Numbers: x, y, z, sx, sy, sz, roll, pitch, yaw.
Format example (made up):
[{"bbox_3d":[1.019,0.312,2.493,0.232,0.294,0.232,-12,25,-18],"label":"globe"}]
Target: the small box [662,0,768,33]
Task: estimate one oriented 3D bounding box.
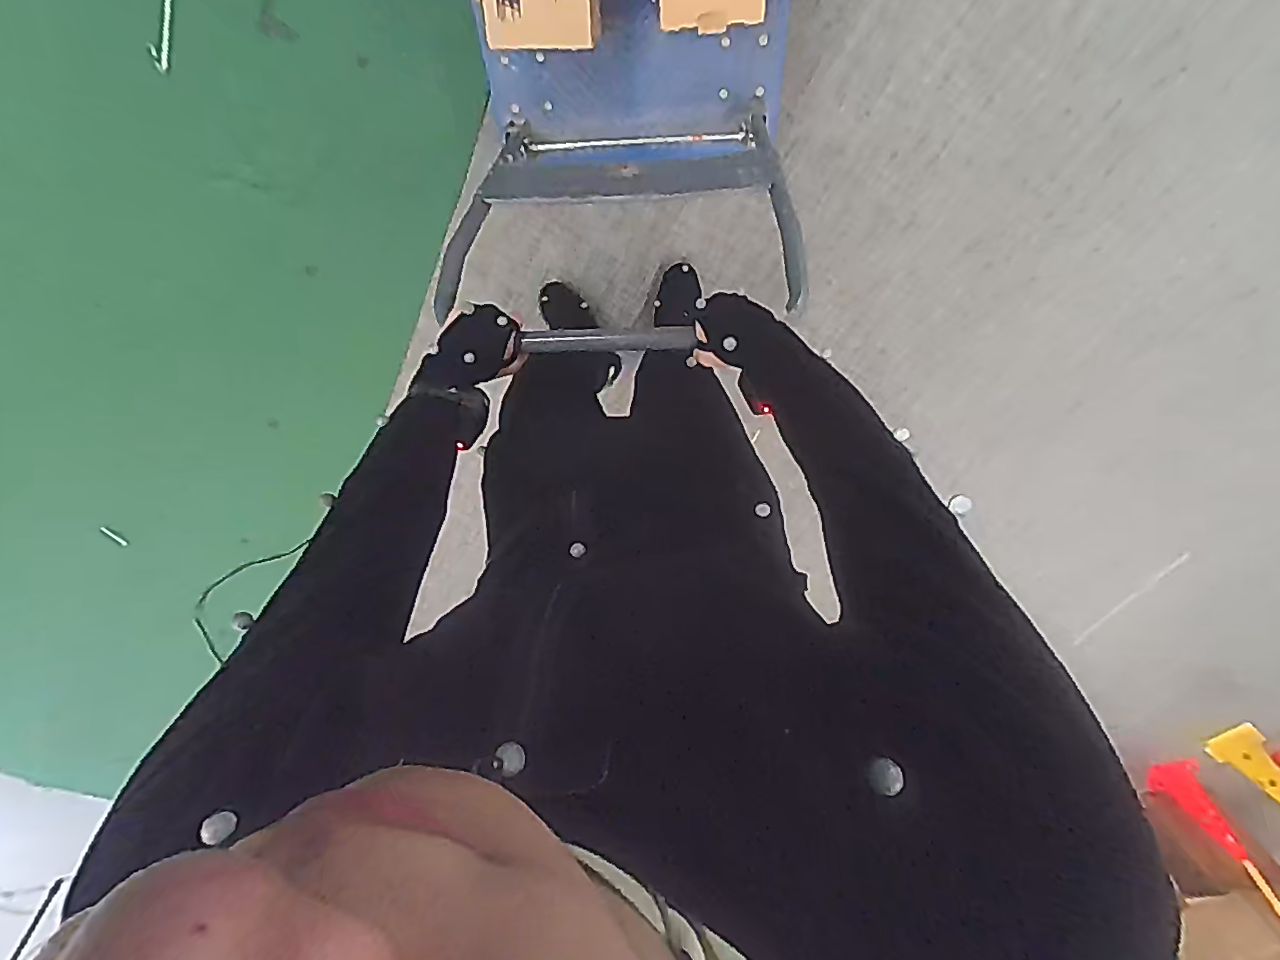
[{"bbox_3d":[0.117,-0.835,0.855,0.168,0.176,0.179,0,137,4],"label":"small box"}]
